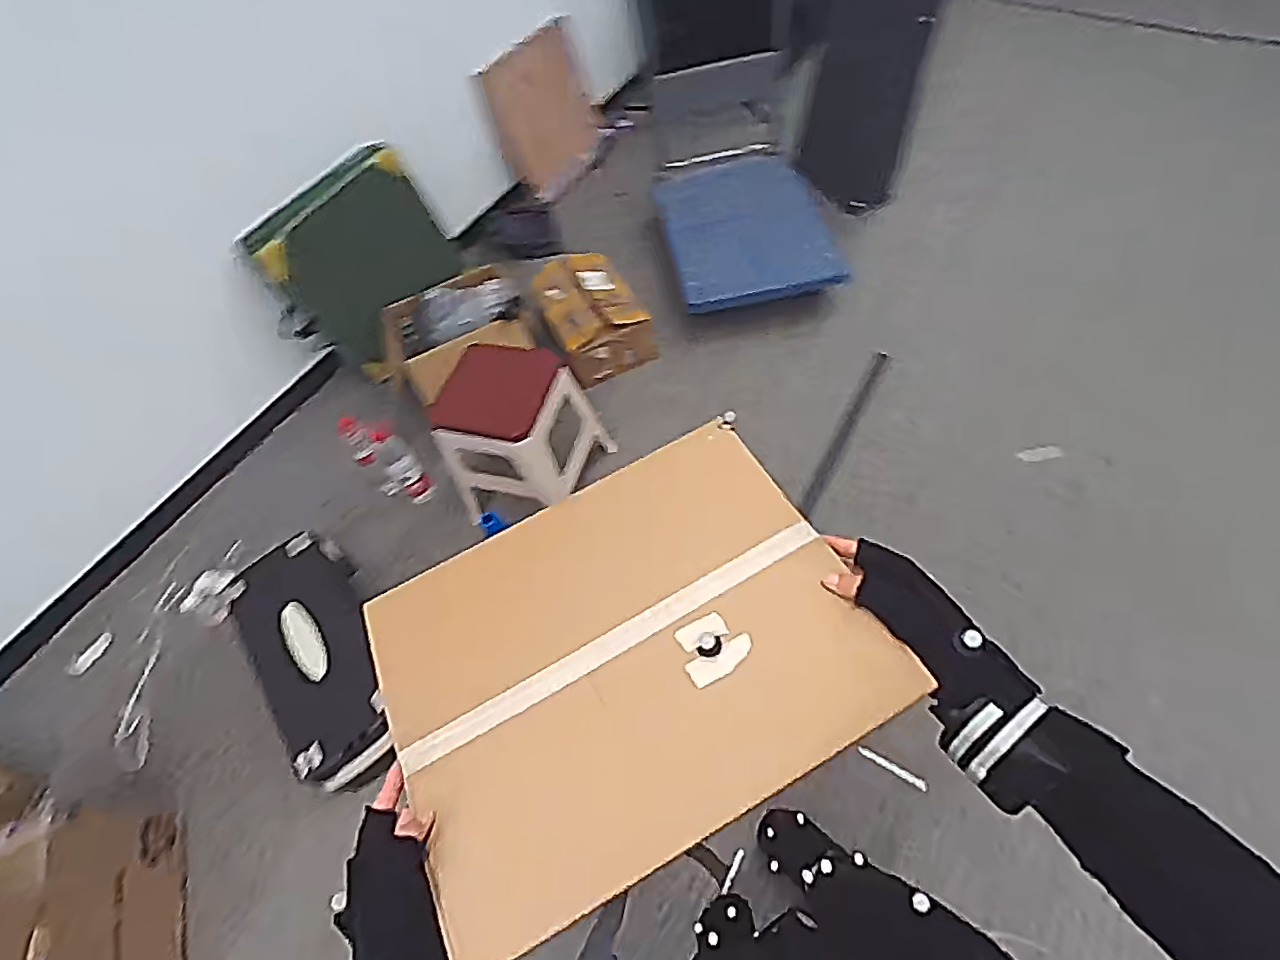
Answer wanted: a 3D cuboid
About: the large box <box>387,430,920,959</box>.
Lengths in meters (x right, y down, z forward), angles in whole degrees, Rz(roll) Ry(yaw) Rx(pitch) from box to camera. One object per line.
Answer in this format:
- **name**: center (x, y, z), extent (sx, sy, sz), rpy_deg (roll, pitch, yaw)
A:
- **large box**: center (0.009, 0.222, 0.609), extent (0.408, 0.320, 0.320), rpy_deg (-27, 59, -7)
